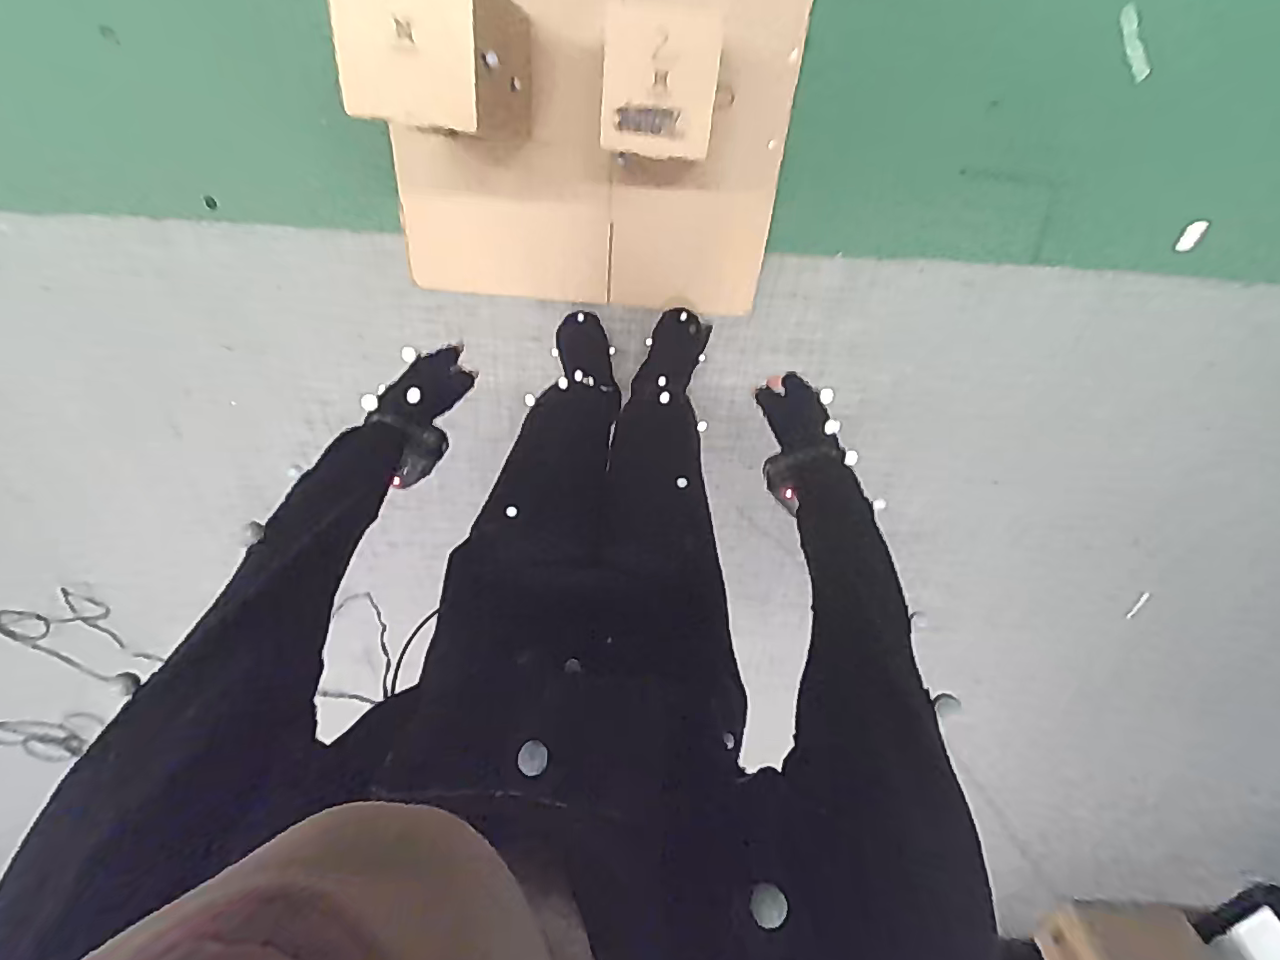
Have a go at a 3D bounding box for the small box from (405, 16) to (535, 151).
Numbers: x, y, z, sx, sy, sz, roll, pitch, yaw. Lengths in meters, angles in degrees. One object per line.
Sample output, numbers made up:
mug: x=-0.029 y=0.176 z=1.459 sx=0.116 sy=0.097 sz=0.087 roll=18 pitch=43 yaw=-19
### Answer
small box: x=-0.263 y=-0.626 z=0.847 sx=0.168 sy=0.176 sz=0.179 roll=7 pitch=121 yaw=-1

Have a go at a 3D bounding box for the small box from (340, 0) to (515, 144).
small box: x=-0.263 y=-0.551 z=0.702 sx=0.168 sy=0.176 sz=0.179 roll=7 pitch=122 yaw=-2
